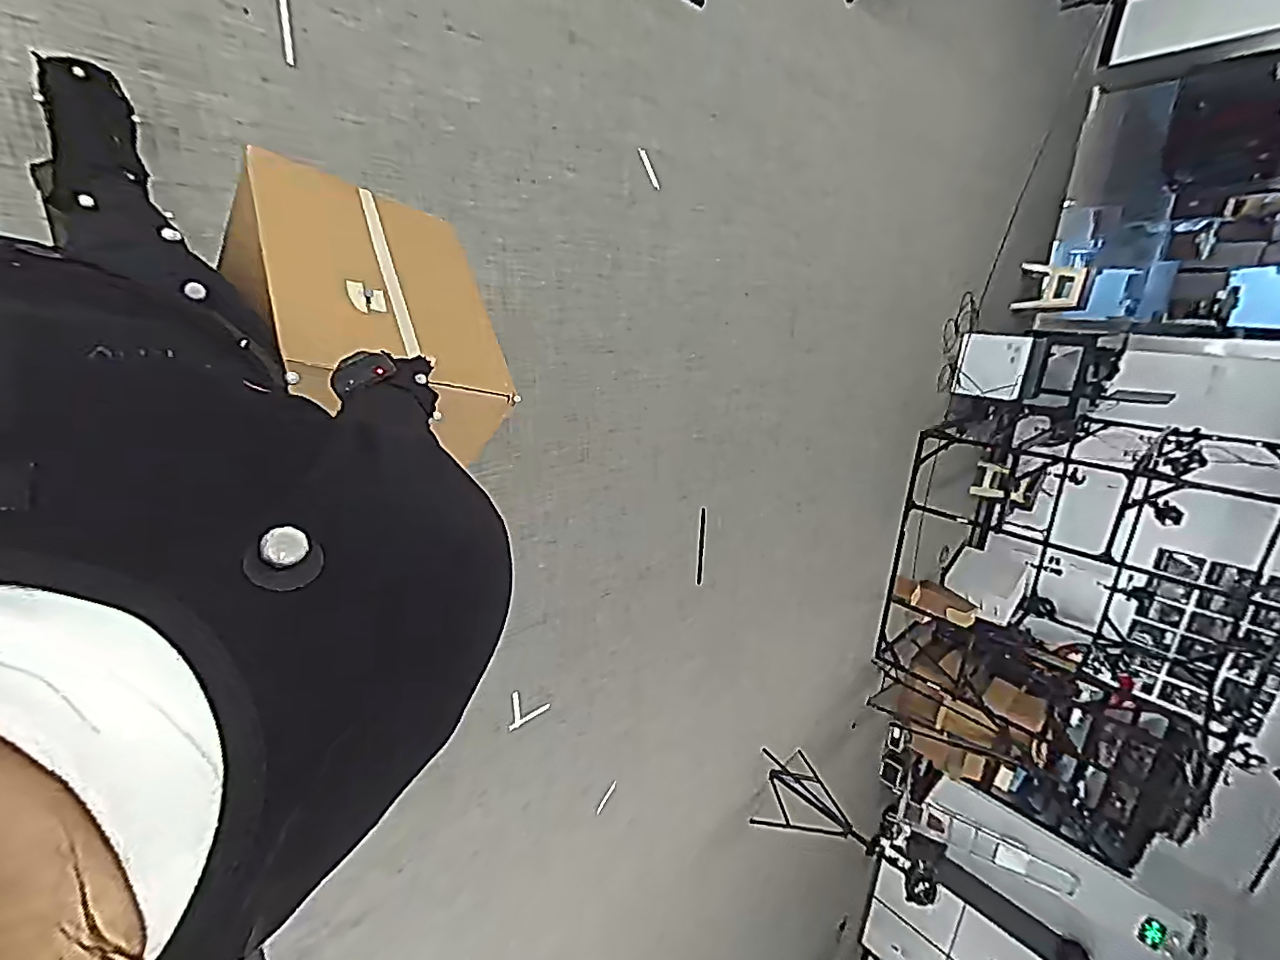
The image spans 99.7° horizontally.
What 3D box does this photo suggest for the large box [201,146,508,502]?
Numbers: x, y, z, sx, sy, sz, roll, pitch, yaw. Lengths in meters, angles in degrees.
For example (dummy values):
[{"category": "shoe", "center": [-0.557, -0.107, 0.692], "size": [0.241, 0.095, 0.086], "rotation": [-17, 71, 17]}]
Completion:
[{"category": "large box", "center": [-0.469, -0.212, 0.864], "size": [0.320, 0.408, 0.320], "rotation": [1, 148, -46]}]
